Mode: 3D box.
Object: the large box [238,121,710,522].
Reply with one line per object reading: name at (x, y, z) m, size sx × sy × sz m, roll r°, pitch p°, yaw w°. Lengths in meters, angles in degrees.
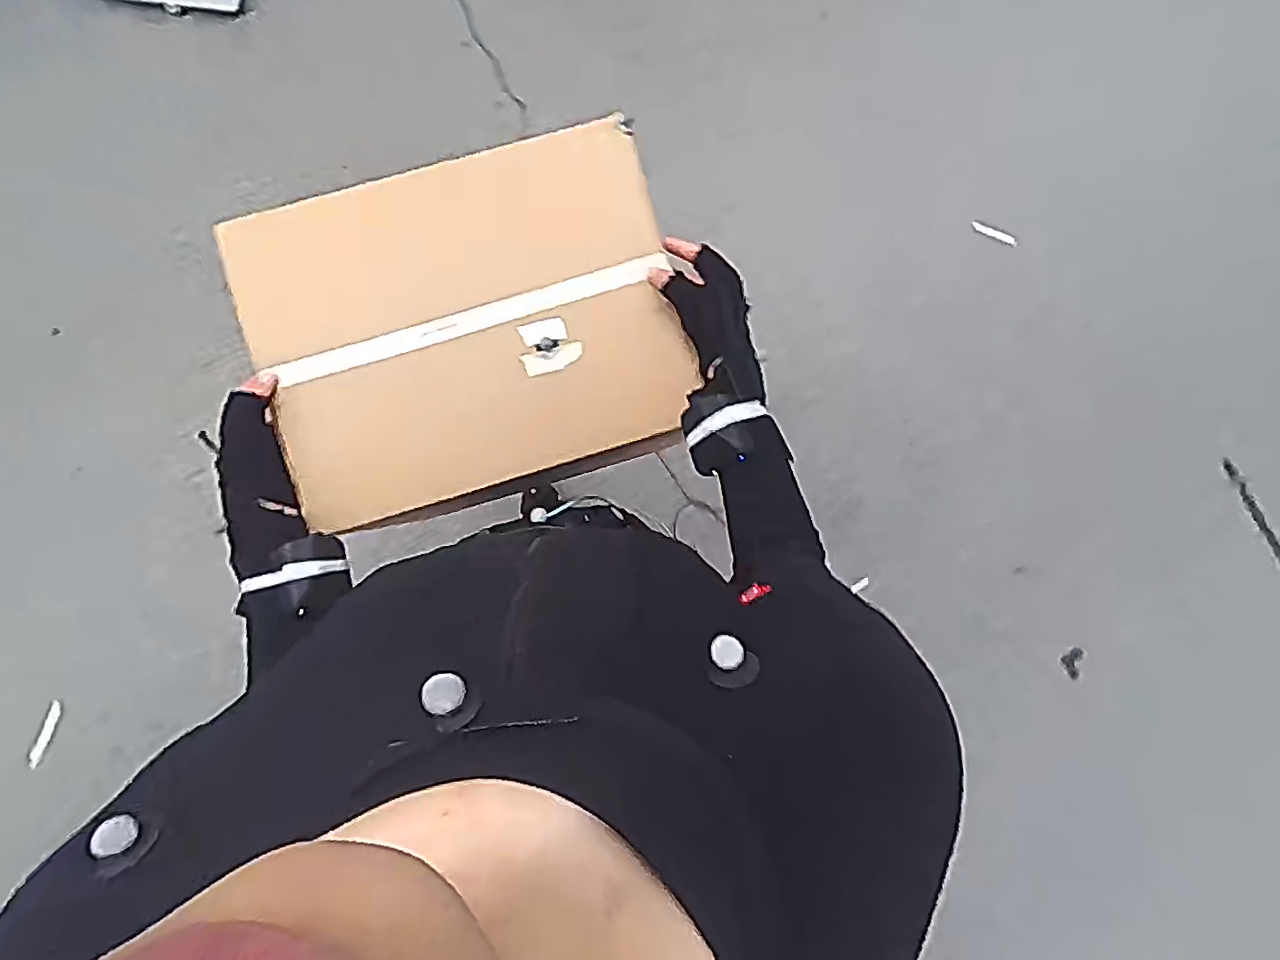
large box at (-0.170, -0.158, 0.683) m, size 0.408 × 0.320 × 0.320 m, roll -17°, pitch 91°, yaw -4°
